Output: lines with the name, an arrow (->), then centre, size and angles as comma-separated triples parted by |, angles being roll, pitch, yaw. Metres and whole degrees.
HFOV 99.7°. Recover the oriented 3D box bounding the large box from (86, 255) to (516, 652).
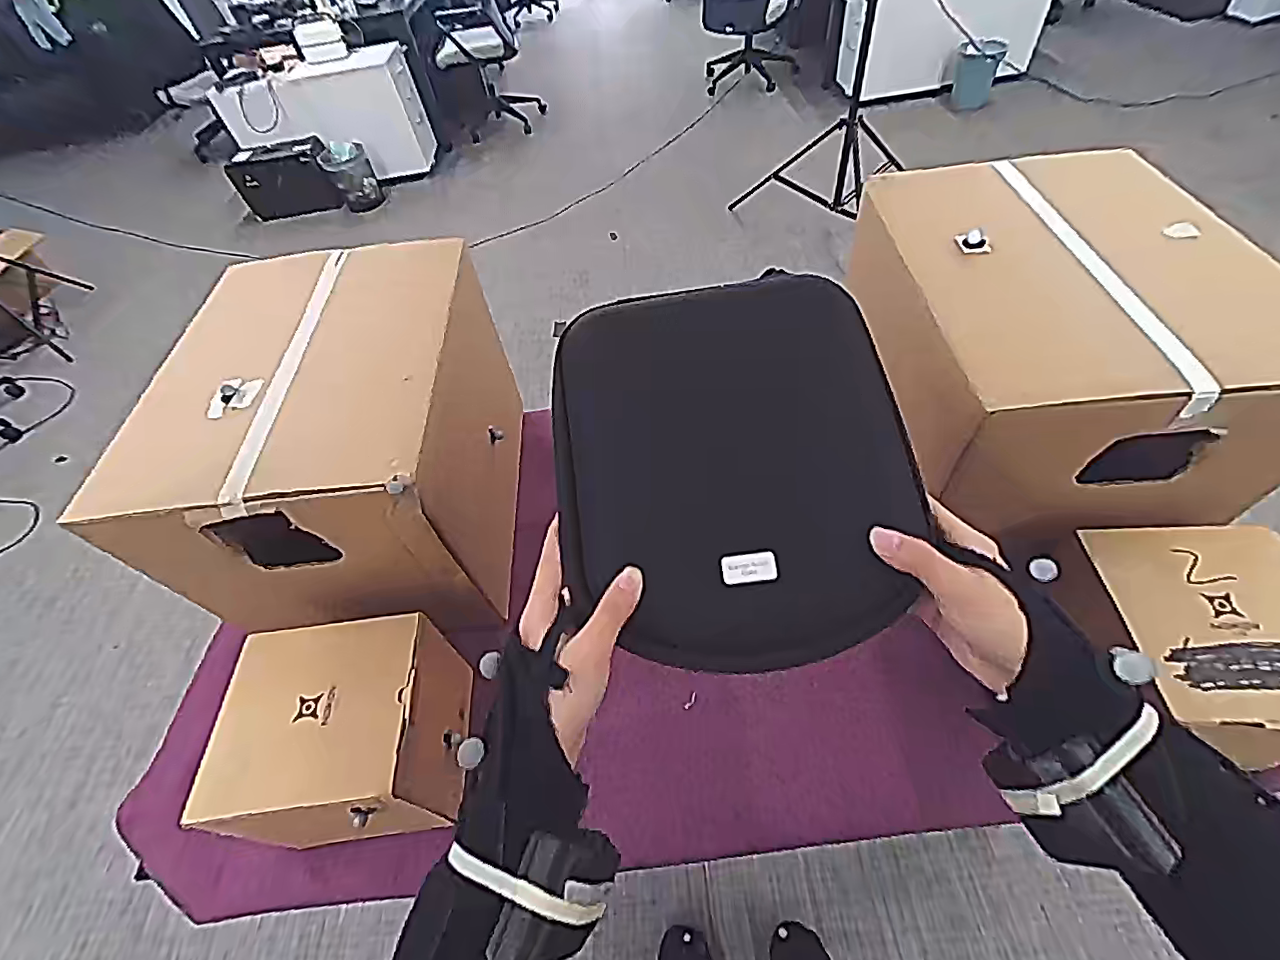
large box -> -0.354, -0.033, 0.714 | 0.320, 0.320, 0.408 | -8, 54, 1
